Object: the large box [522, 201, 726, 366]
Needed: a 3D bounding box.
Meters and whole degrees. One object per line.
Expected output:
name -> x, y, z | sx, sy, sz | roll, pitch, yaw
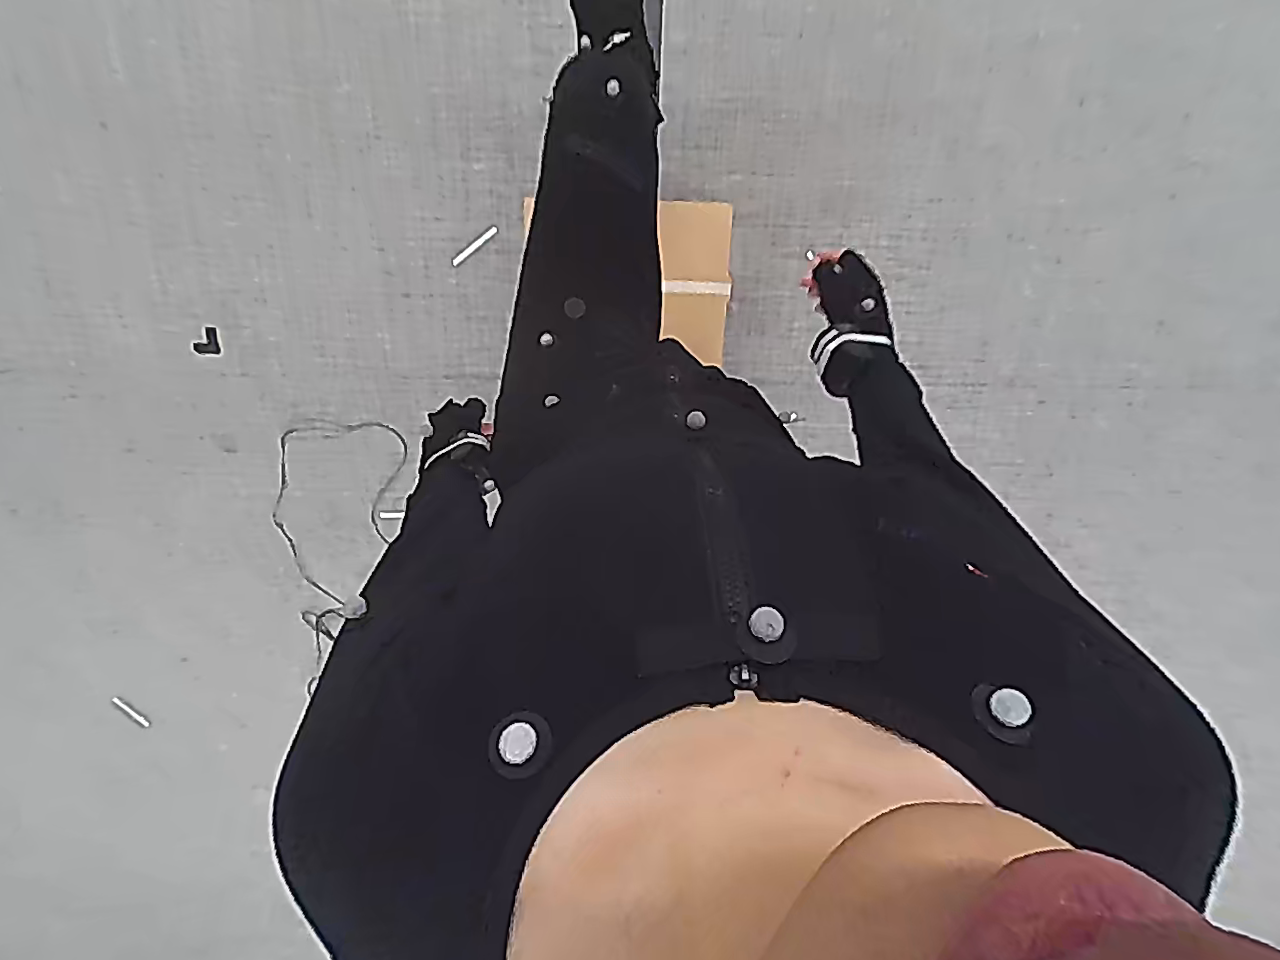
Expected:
large box -> -0.029, -0.435, 1.226 | 0.408, 0.320, 0.320 | 2, 107, 0
